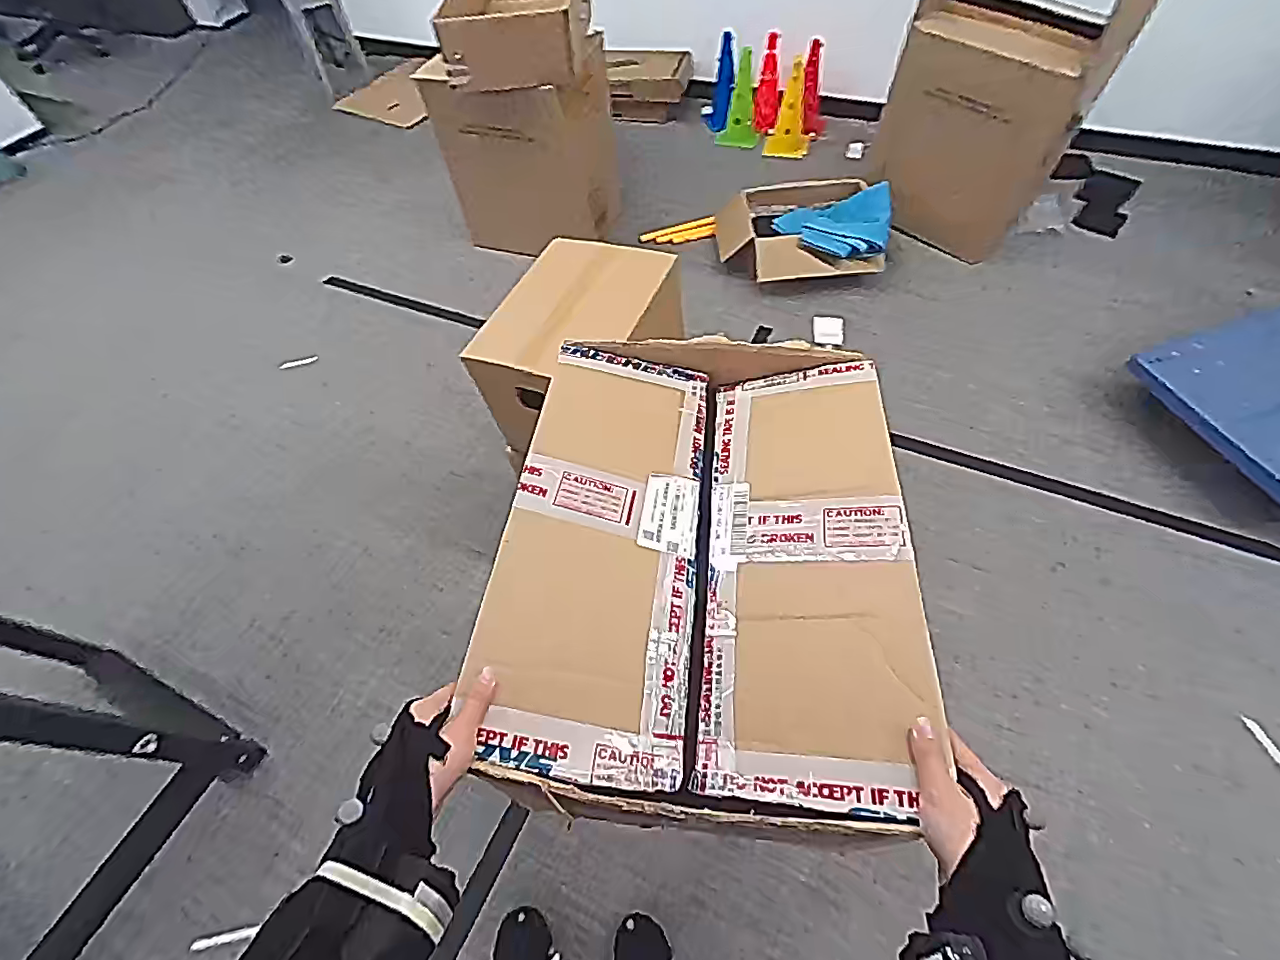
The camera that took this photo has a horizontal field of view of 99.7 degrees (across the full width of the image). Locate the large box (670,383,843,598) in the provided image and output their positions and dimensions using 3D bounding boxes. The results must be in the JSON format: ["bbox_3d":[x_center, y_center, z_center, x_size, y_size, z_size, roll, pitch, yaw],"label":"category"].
[{"bbox_3d":[0.291,0.026,1.393,0.320,0.320,0.408,18,61,16],"label":"large box"}]
